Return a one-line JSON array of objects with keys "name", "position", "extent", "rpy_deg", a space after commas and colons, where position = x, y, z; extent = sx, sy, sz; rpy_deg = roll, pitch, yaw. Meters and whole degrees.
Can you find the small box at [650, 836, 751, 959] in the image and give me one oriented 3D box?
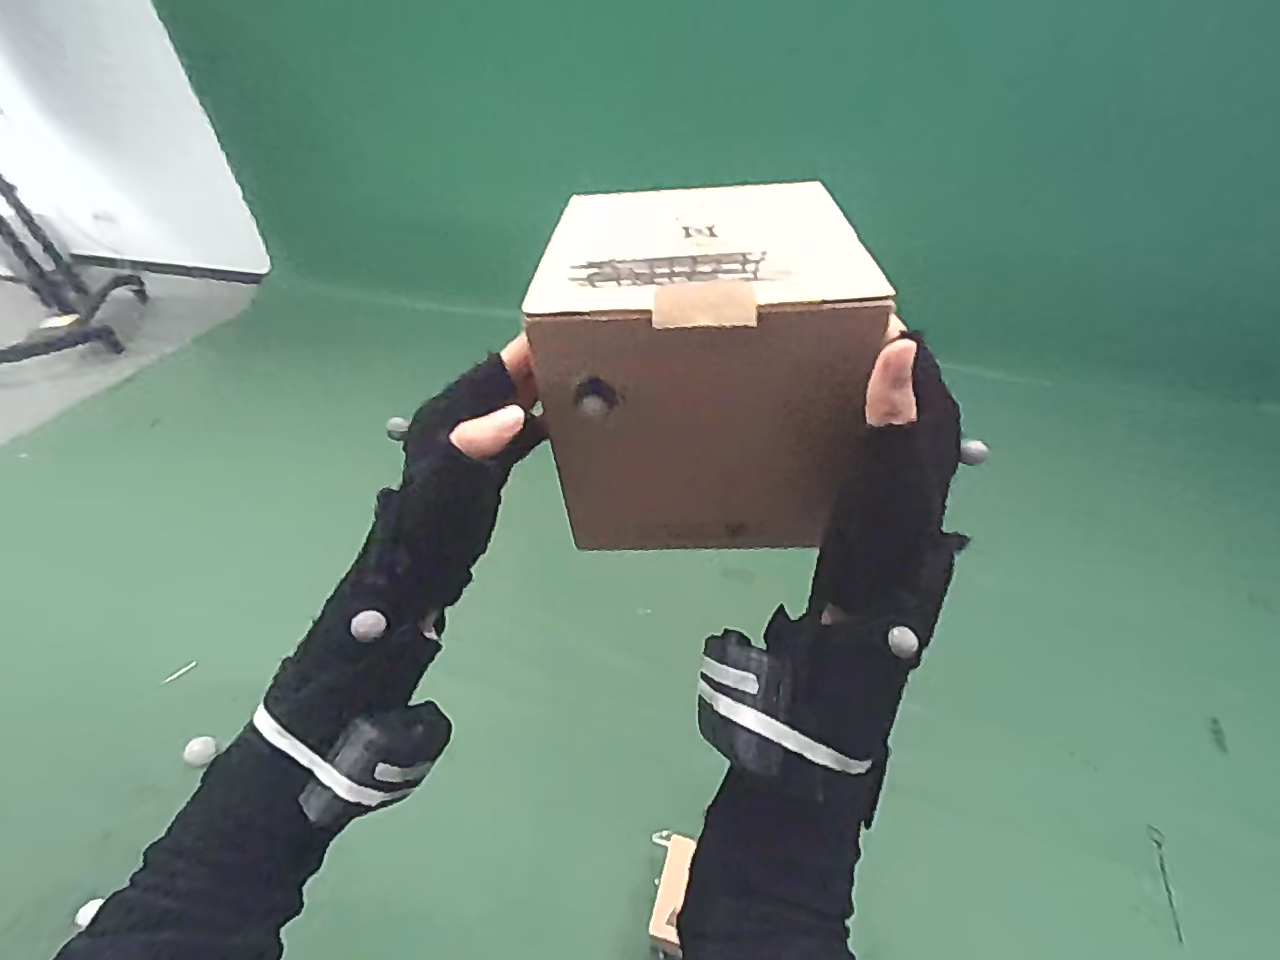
[{"name": "small box", "position": [0.125, 0.883, 1.115], "extent": [0.168, 0.176, 0.179], "rpy_deg": [12, 44, 14]}]
